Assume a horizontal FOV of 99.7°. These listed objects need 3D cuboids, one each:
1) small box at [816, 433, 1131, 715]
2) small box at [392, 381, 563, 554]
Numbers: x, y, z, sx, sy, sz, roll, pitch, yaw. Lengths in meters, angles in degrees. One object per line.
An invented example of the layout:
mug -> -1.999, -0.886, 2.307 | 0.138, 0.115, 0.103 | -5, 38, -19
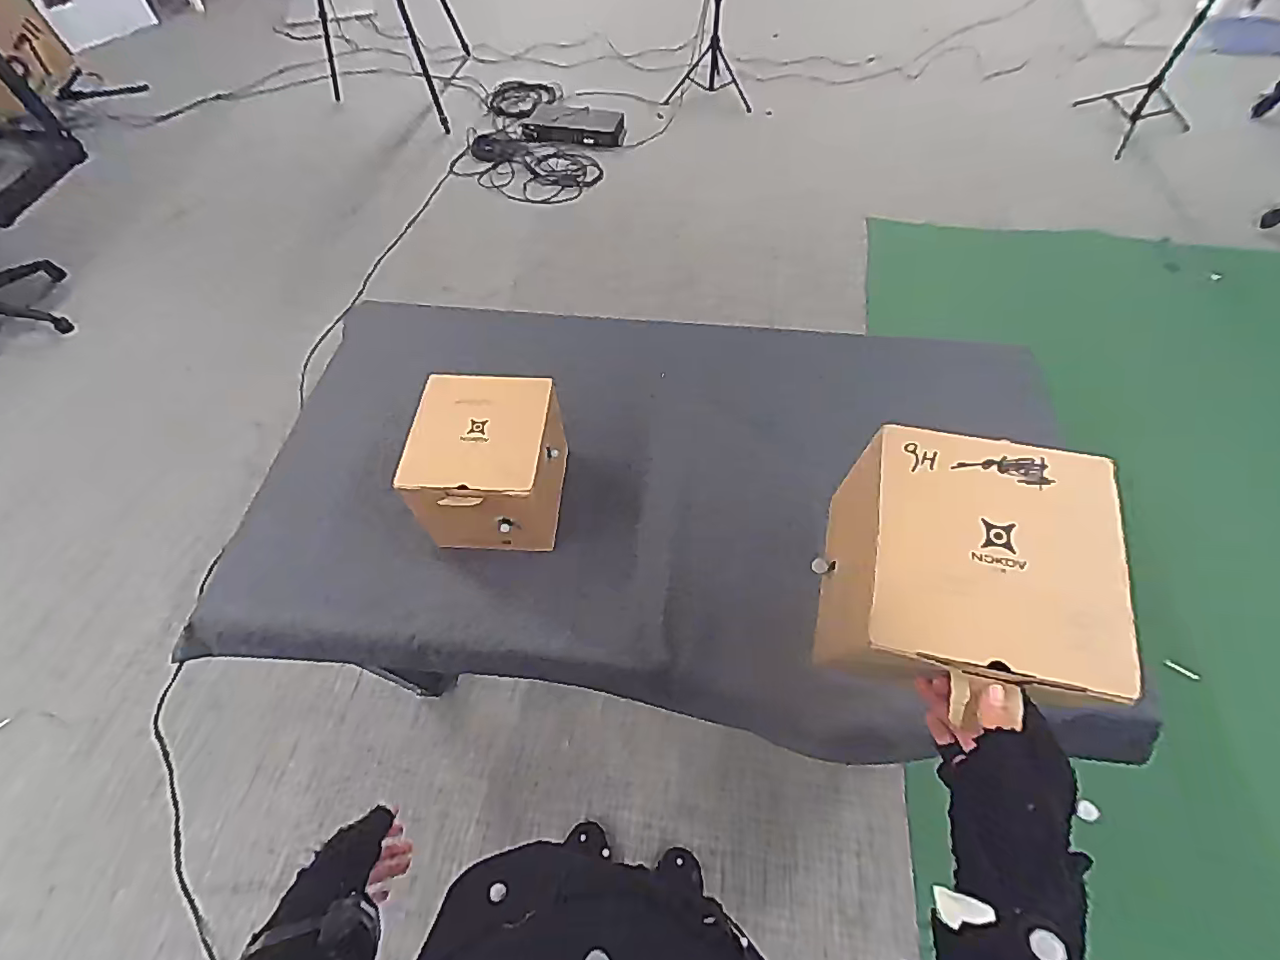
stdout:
small box -> 0.254, 0.085, 0.455 | 0.168, 0.176, 0.179 | 10, 68, 8
small box -> -0.201, -0.011, 0.731 | 0.168, 0.176, 0.179 | 2, 57, 1
